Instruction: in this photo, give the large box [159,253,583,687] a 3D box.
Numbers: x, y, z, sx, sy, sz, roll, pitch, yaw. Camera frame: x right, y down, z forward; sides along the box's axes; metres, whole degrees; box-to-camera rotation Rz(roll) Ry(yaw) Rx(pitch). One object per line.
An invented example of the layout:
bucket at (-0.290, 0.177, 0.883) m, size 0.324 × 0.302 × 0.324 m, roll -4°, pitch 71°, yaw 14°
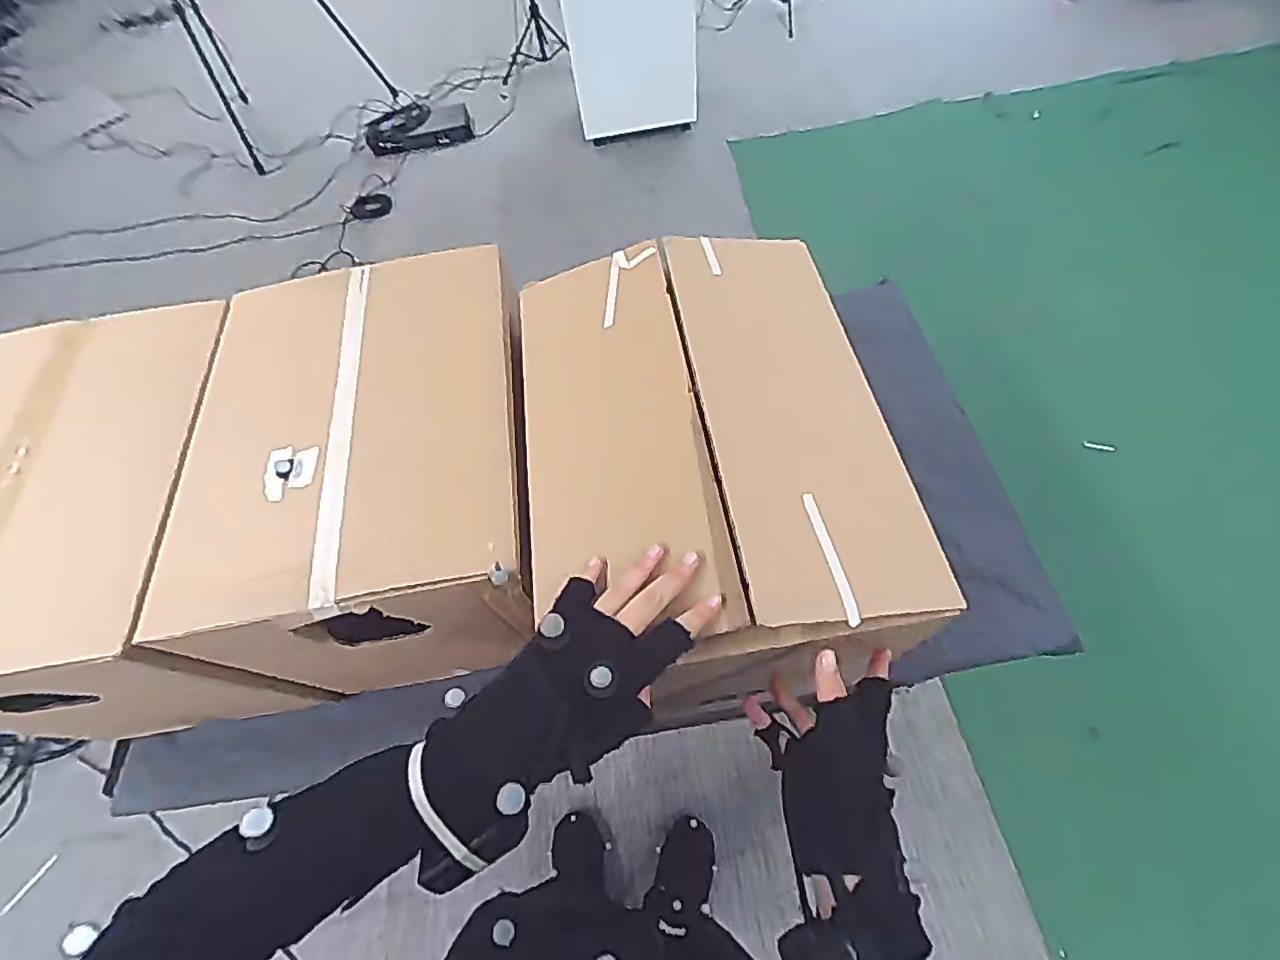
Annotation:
large box at (-0.265, 0.001, 0.663) m, size 0.320 × 0.320 × 0.408 m, roll -11°, pitch 61°, yaw 1°
